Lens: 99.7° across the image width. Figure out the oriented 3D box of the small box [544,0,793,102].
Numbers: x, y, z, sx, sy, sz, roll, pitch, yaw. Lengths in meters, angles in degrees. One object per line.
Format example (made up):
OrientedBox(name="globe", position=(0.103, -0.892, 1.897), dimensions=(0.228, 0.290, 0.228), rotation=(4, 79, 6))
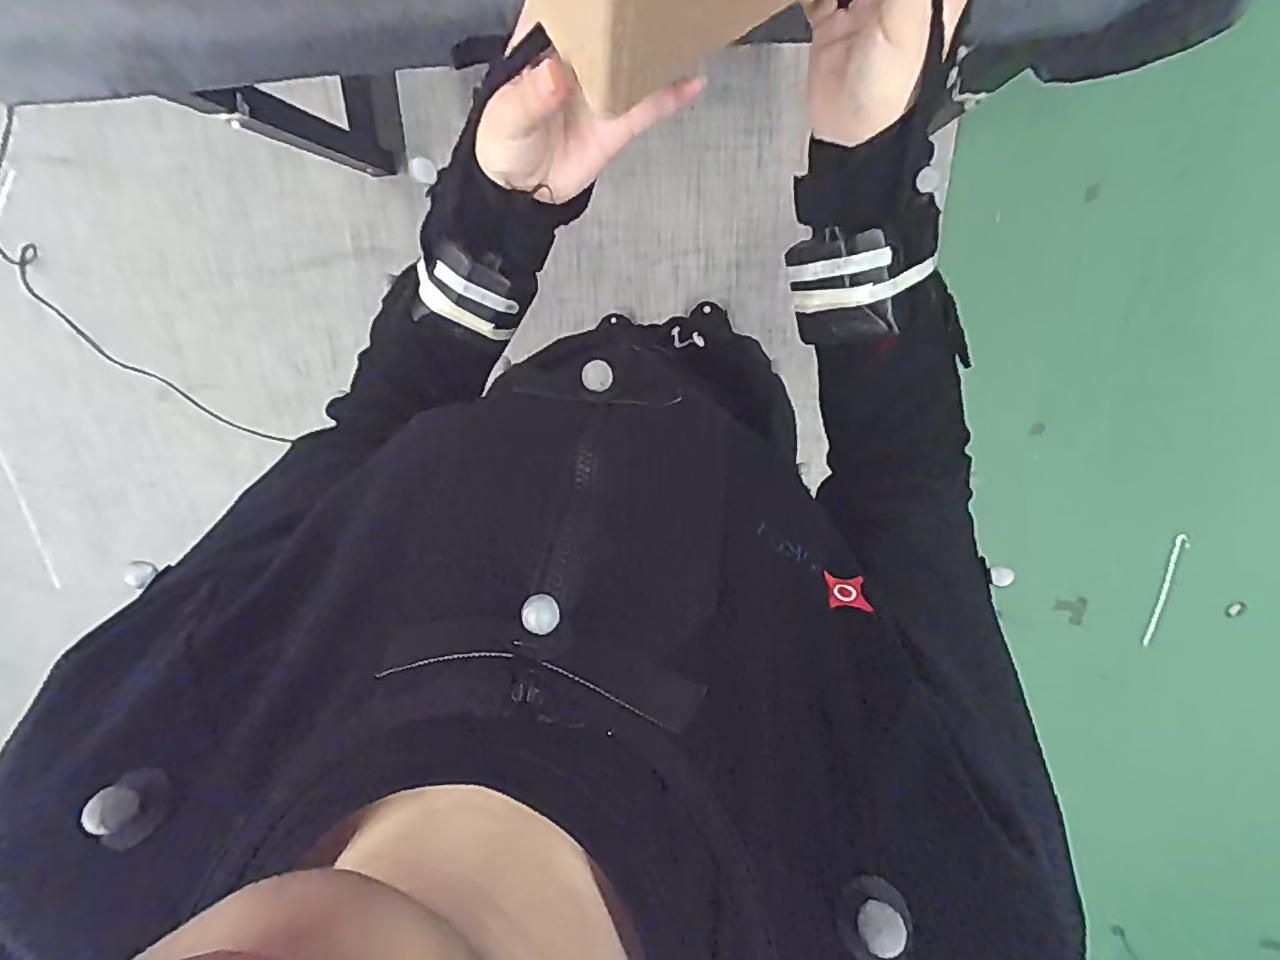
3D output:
OrientedBox(name="small box", position=(0.021, -0.254, 0.142), dimensions=(0.179, 0.176, 0.168), rotation=(-34, 101, 0))
